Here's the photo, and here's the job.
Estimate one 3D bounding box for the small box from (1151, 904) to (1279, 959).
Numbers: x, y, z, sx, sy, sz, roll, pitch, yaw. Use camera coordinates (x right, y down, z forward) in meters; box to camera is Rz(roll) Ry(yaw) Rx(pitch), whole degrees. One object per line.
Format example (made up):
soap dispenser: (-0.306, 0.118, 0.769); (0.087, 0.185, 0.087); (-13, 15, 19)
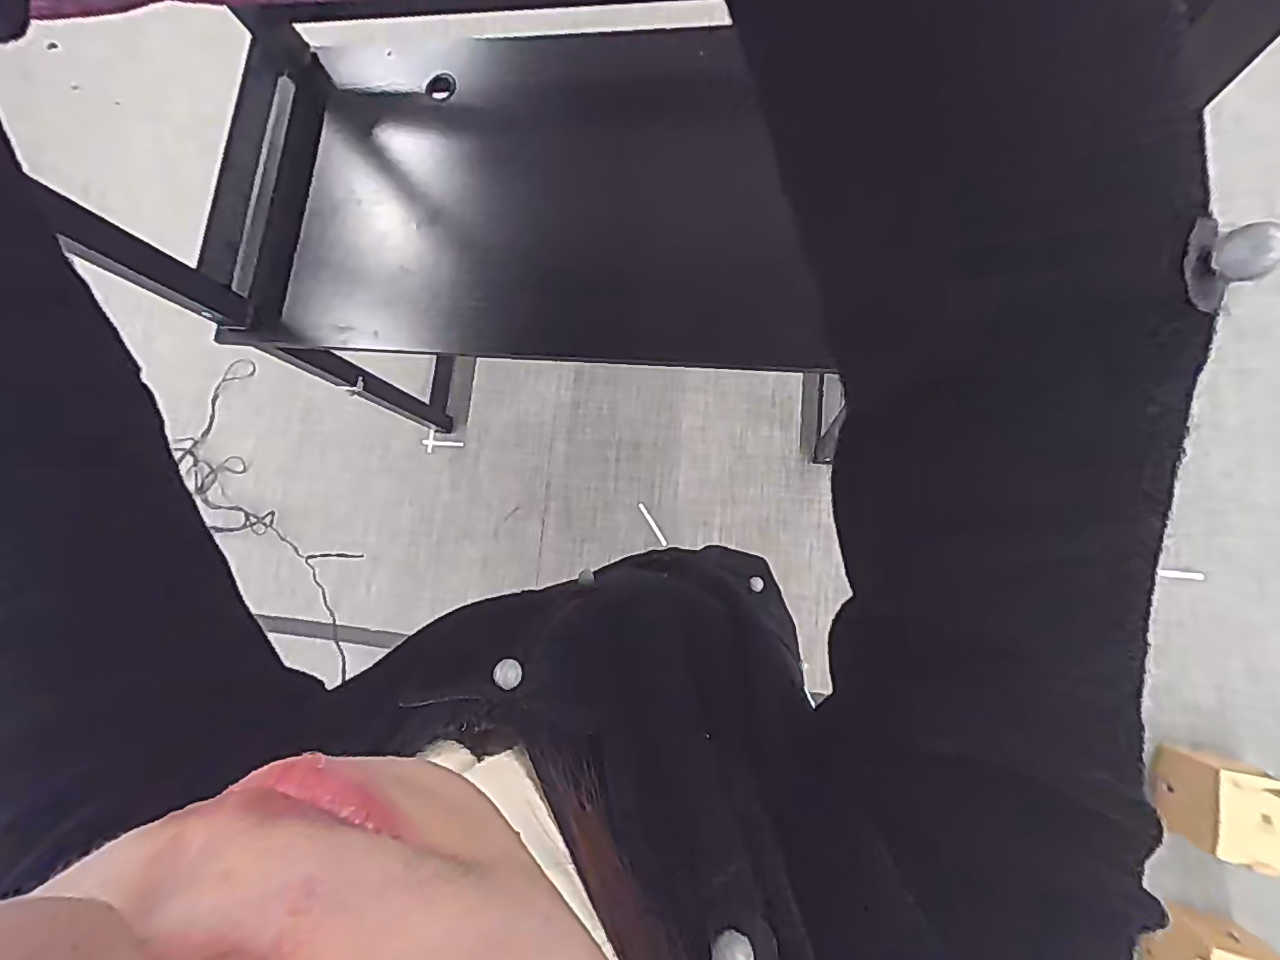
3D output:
small box: (1.203, 1.018, 1.106); (0.179, 0.176, 0.168); (10, 83, 10)

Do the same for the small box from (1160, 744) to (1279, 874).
small box: (1.262, 0.694, 1.148); (0.168, 0.176, 0.179); (9, 83, 10)
